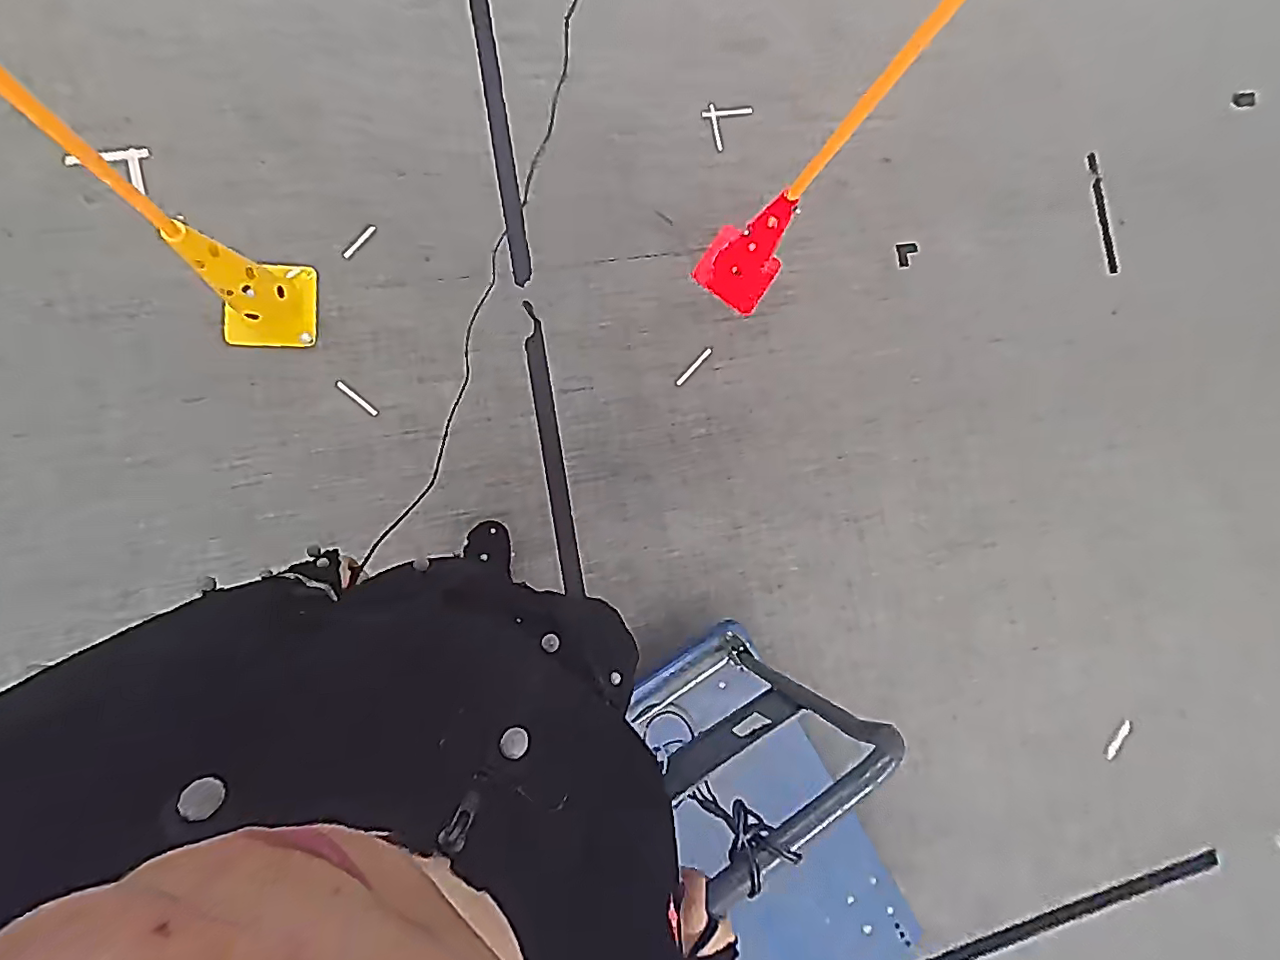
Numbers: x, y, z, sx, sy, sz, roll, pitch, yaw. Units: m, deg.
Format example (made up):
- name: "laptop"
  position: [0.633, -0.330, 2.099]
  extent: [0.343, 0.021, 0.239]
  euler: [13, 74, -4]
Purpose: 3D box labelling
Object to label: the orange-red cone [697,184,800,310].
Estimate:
- name: "orange-red cone"
  position: [0.303, -0.603, 1.329]
  extent: [0.198, 0.360, 0.199]
  euler: [35, 82, -4]
